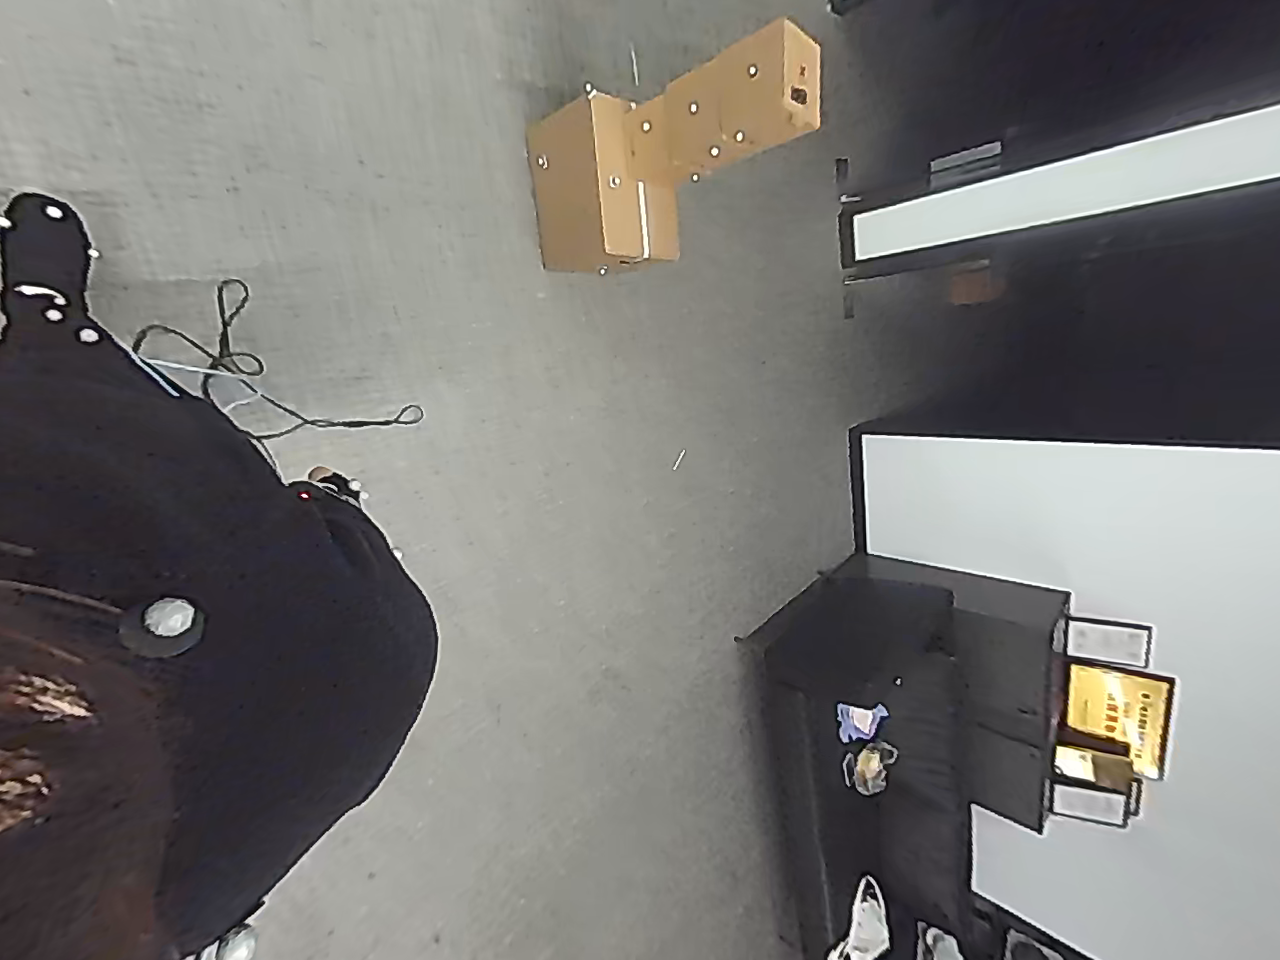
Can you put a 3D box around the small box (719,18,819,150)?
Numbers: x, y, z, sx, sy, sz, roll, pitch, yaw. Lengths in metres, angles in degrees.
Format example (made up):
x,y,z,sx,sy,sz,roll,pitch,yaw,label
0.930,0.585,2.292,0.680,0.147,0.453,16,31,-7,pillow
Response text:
x,y,z,sx,sy,sz,roll,pitch,yaw,label
0.300,-0.908,1.264,0.168,0.176,0.179,-12,102,-44,small box

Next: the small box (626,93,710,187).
x,y,z,sx,sy,sz,roll,pitch,yaw,label
0.074,-0.933,1.503,0.179,0.176,0.168,-18,108,-43,small box
